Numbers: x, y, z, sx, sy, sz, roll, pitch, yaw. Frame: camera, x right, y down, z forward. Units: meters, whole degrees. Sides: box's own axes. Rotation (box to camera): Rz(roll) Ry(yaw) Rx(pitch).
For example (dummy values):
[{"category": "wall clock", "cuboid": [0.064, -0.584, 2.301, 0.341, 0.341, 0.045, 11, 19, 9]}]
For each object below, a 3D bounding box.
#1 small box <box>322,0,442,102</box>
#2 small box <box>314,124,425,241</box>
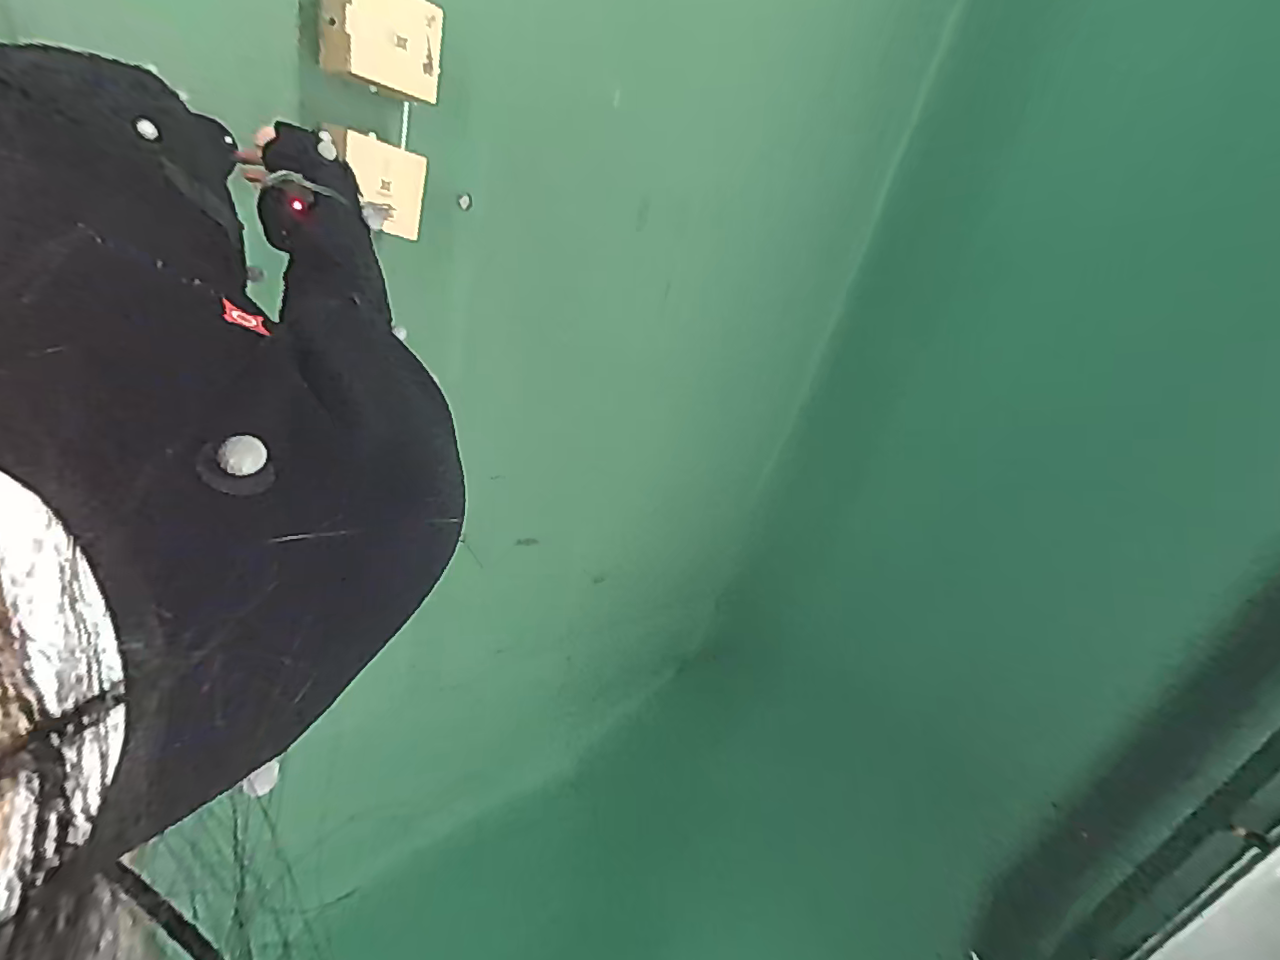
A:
[{"category": "small box", "cuboid": [-0.528, -0.893, 1.097, 0.179, 0.176, 0.168, -9, 124, -45]}, {"category": "small box", "cuboid": [-0.603, -0.658, 1.199, 0.168, 0.176, 0.179, -6, 122, -47]}]
